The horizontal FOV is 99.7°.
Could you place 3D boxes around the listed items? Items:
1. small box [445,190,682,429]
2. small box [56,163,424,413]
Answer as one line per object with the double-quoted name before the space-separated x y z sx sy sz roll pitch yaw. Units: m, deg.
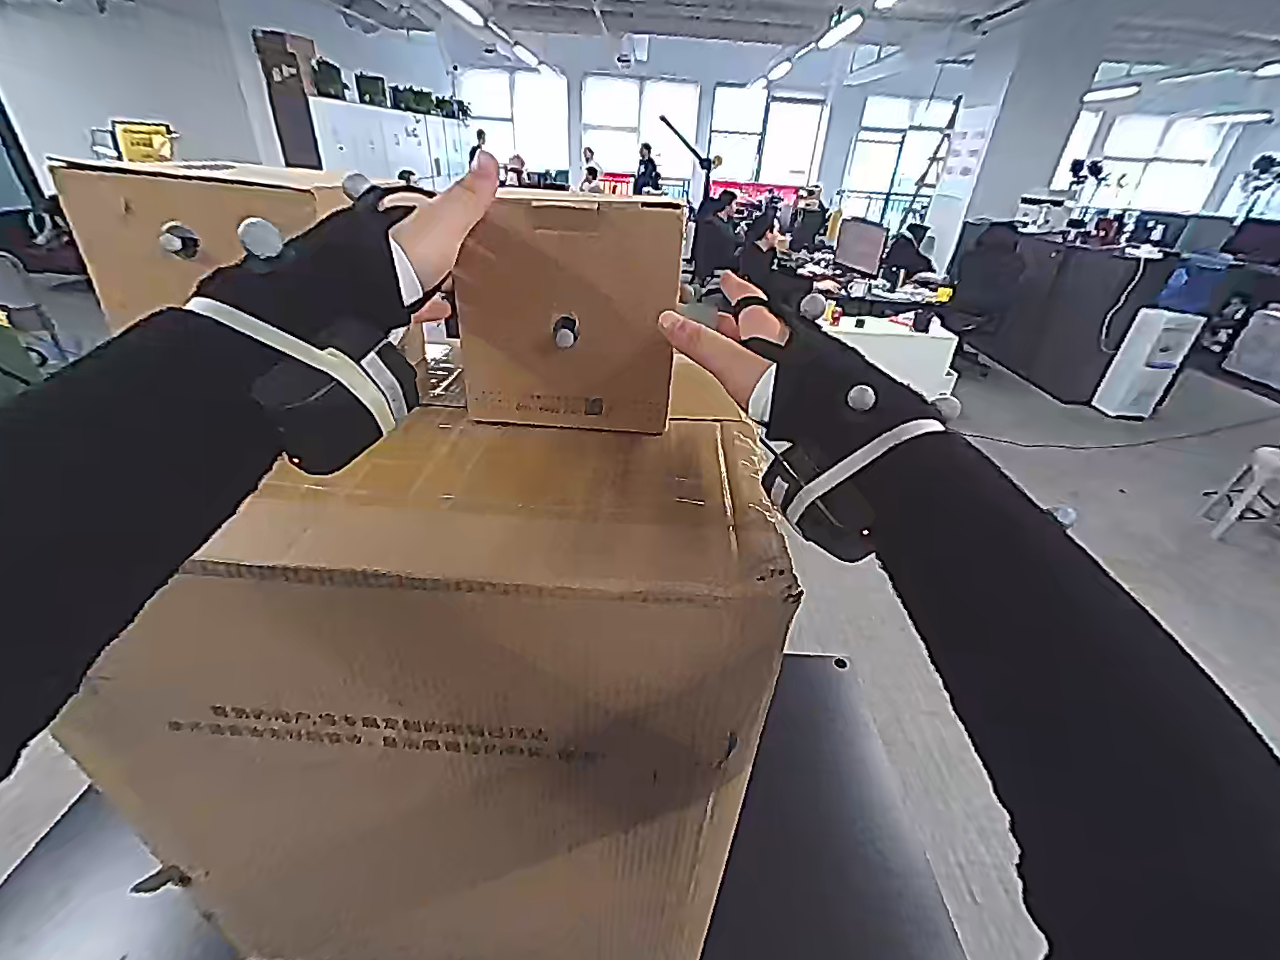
"small box" -0.049 -0.153 0.474 0.168 0.176 0.179 4 30 1
"small box" -0.308 -0.167 0.466 0.179 0.176 0.168 5 30 -2
